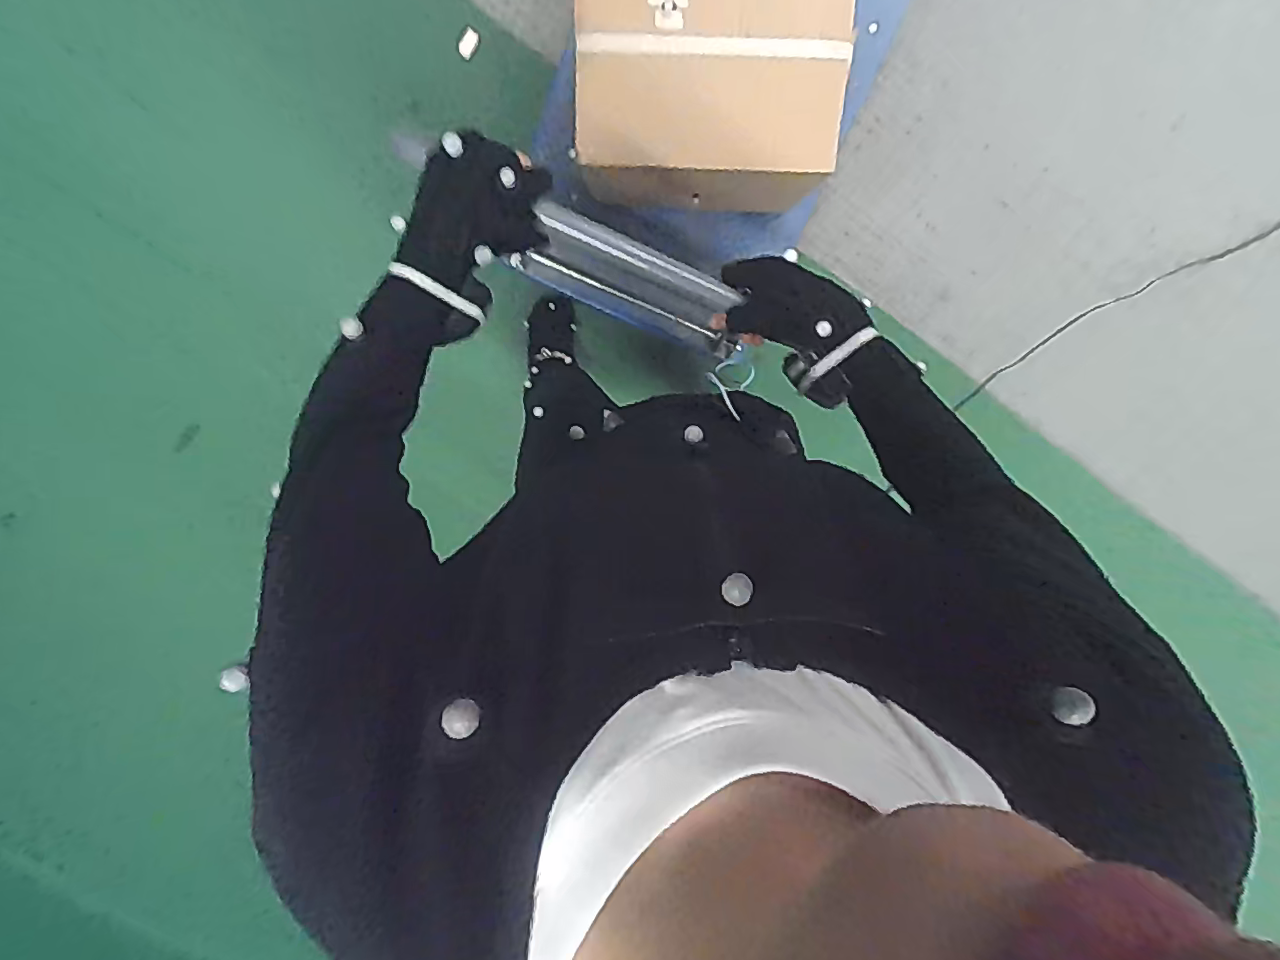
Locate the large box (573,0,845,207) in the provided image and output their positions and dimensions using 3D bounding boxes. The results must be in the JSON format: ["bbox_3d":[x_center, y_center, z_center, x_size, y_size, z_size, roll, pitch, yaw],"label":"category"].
[{"bbox_3d":[0.104,-0.674,0.948,0.408,0.320,0.320,2,106,1],"label":"large box"}]
